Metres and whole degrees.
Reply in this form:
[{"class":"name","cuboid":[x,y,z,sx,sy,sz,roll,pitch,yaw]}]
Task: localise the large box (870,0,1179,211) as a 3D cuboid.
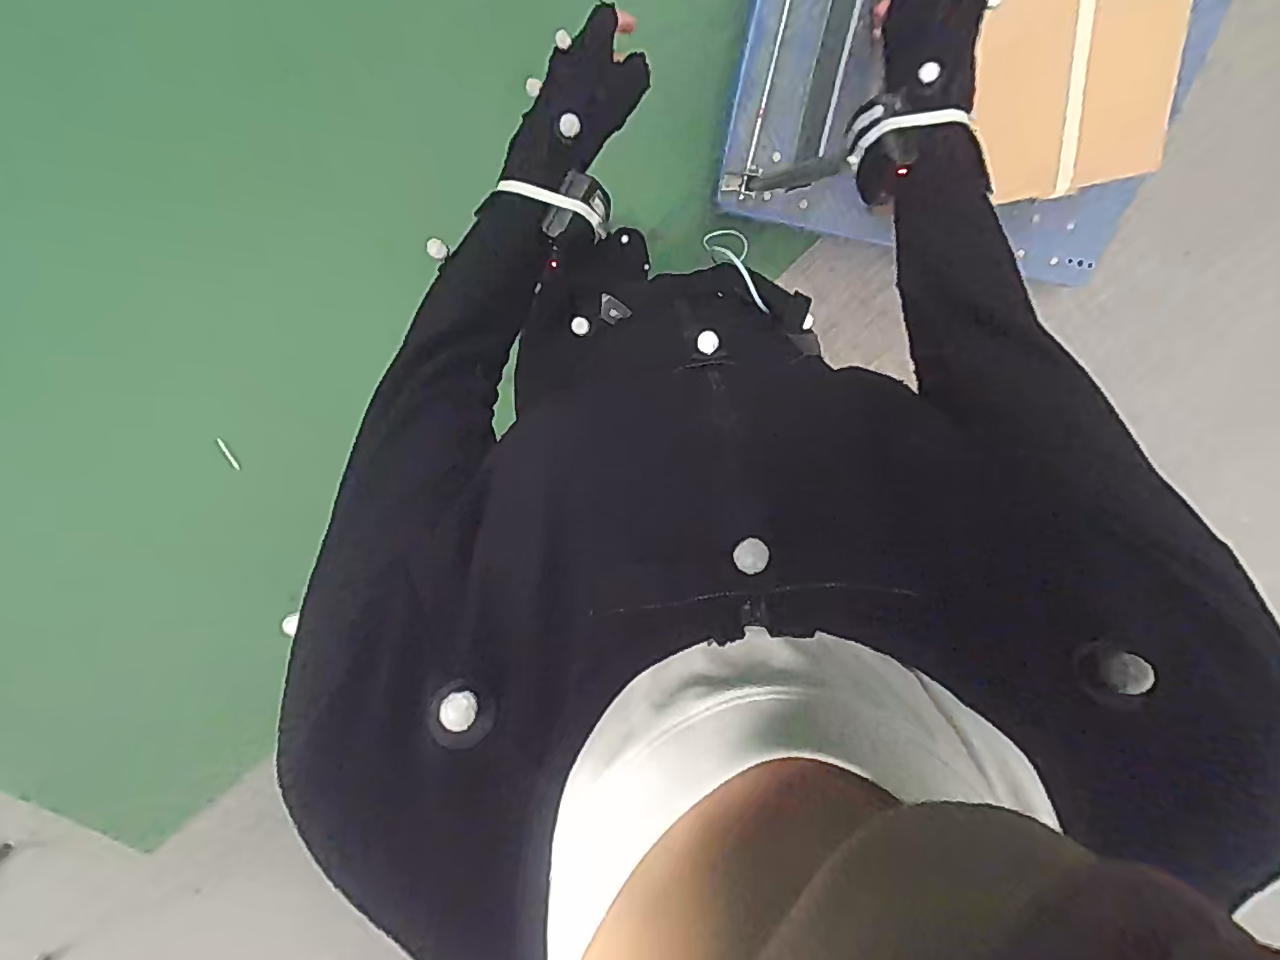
[{"class":"large box","cuboid":[0.595,-0.701,0.892,0.320,0.320,0.408,-11,114,2]}]
